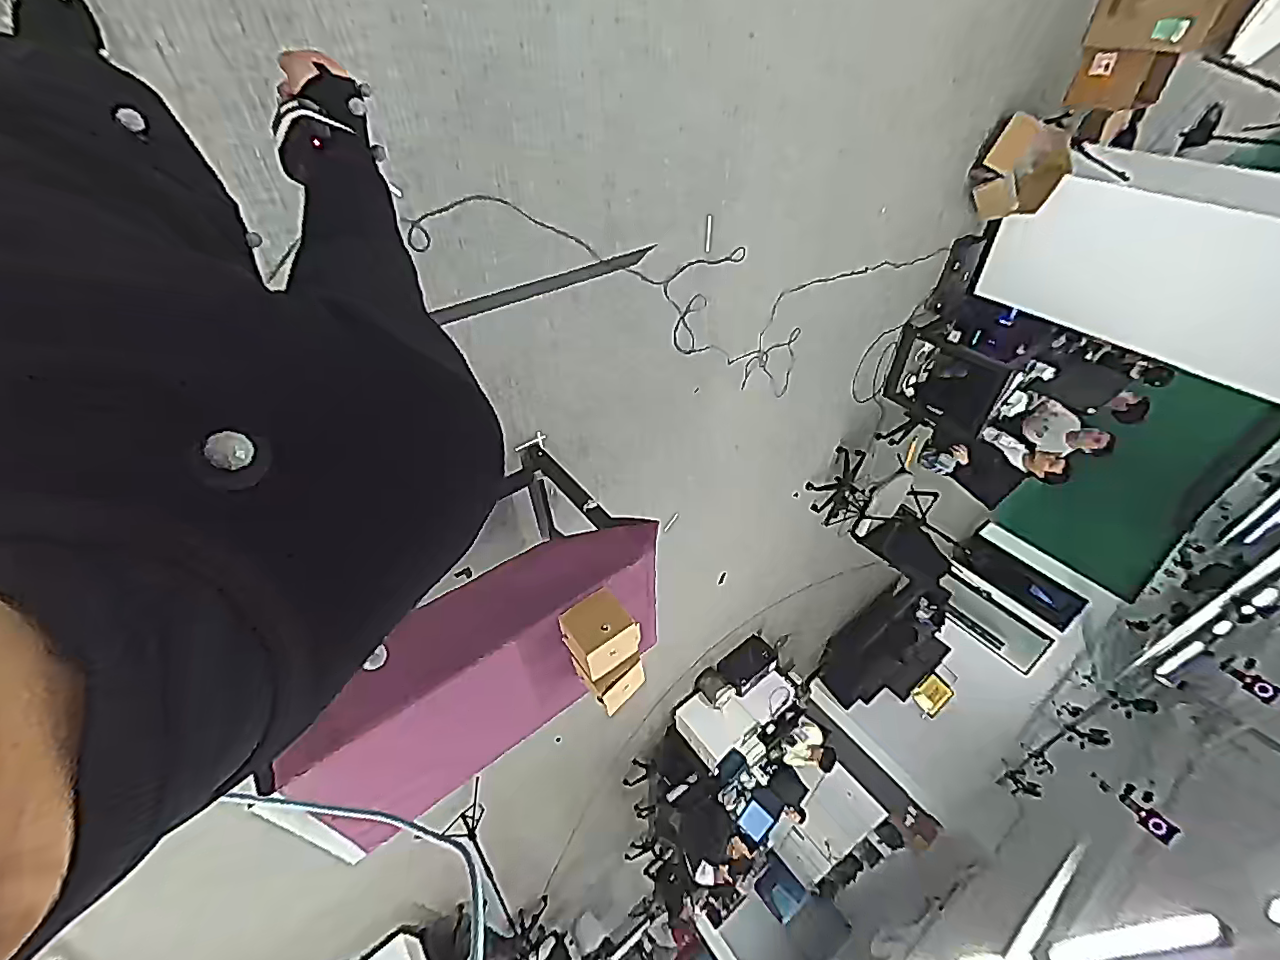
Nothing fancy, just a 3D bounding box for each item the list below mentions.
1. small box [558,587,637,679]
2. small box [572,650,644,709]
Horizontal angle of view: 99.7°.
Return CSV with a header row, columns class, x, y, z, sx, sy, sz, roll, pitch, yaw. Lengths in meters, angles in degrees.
class,x,y,z,sx,sy,sz,roll,pitch,yaw
small box,-0.130,0.464,1.663,0.179,0.176,0.168,-30,140,-24
small box,-0.109,0.630,1.837,0.179,0.176,0.168,-31,140,-23
